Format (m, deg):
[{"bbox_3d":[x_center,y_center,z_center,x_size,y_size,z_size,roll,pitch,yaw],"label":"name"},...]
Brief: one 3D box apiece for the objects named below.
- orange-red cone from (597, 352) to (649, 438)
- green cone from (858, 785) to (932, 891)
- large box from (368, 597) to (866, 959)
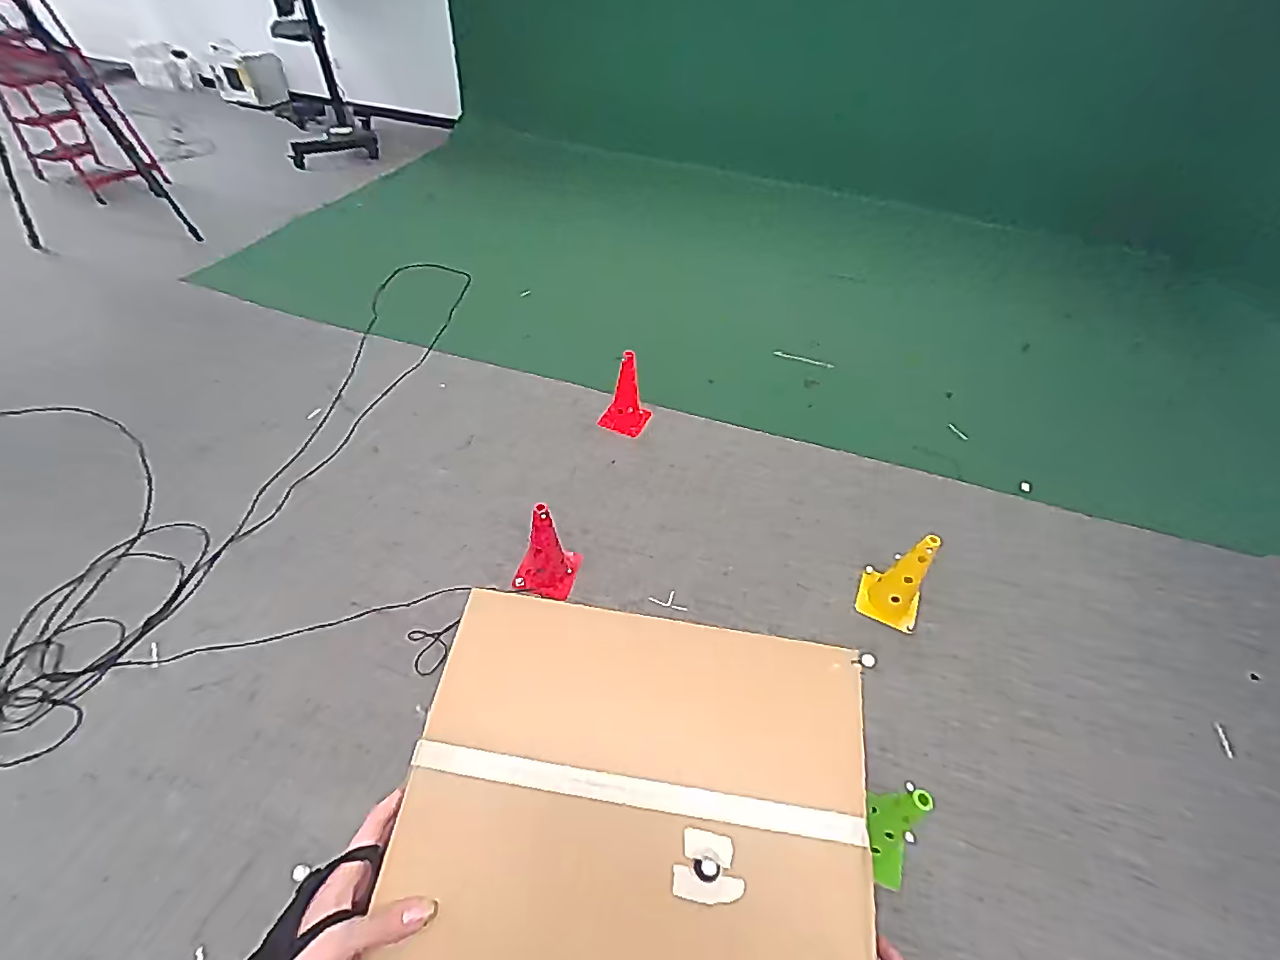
[{"bbox_3d":[-0.067,-0.390,2.336,0.199,0.360,0.198,20,48,15],"label":"orange-red cone"},{"bbox_3d":[0.602,0.812,1.298,0.200,0.368,0.202,20,48,12],"label":"green cone"},{"bbox_3d":[-0.006,0.354,0.620,0.408,0.320,0.320,8,61,3],"label":"large box"}]
